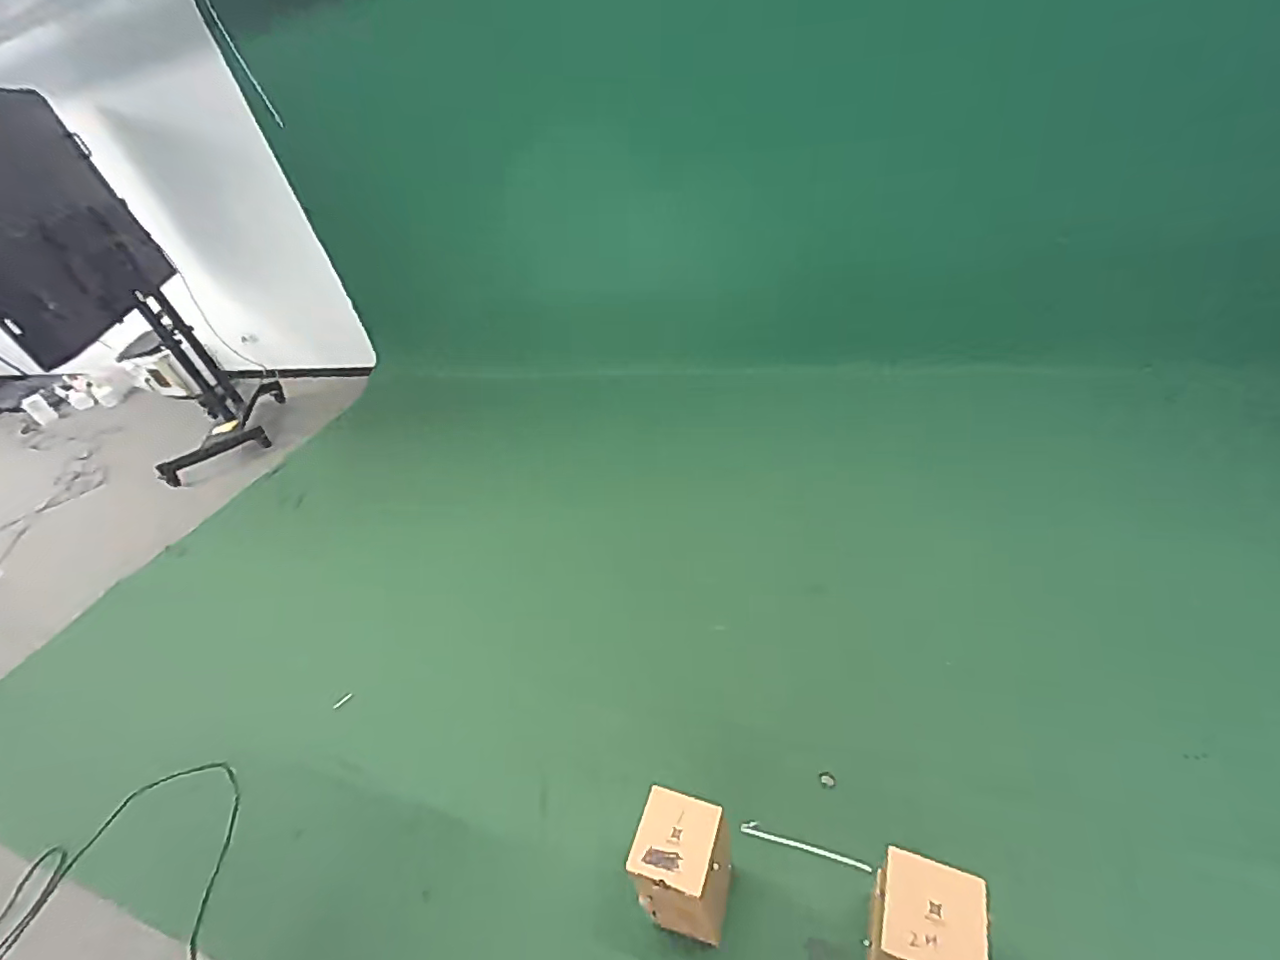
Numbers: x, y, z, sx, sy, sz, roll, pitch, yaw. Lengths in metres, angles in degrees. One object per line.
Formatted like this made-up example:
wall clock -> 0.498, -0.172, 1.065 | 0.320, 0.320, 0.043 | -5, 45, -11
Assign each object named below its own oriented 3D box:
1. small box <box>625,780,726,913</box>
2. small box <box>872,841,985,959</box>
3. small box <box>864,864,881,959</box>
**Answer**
small box -> 0.088, 0.810, 1.195 | 0.168, 0.176, 0.179 | 6, 41, 23
small box -> 0.544, 0.839, 1.030 | 0.168, 0.176, 0.179 | 8, 44, 24
small box -> 0.572, 0.960, 1.138 | 0.168, 0.176, 0.179 | 7, 44, 23
